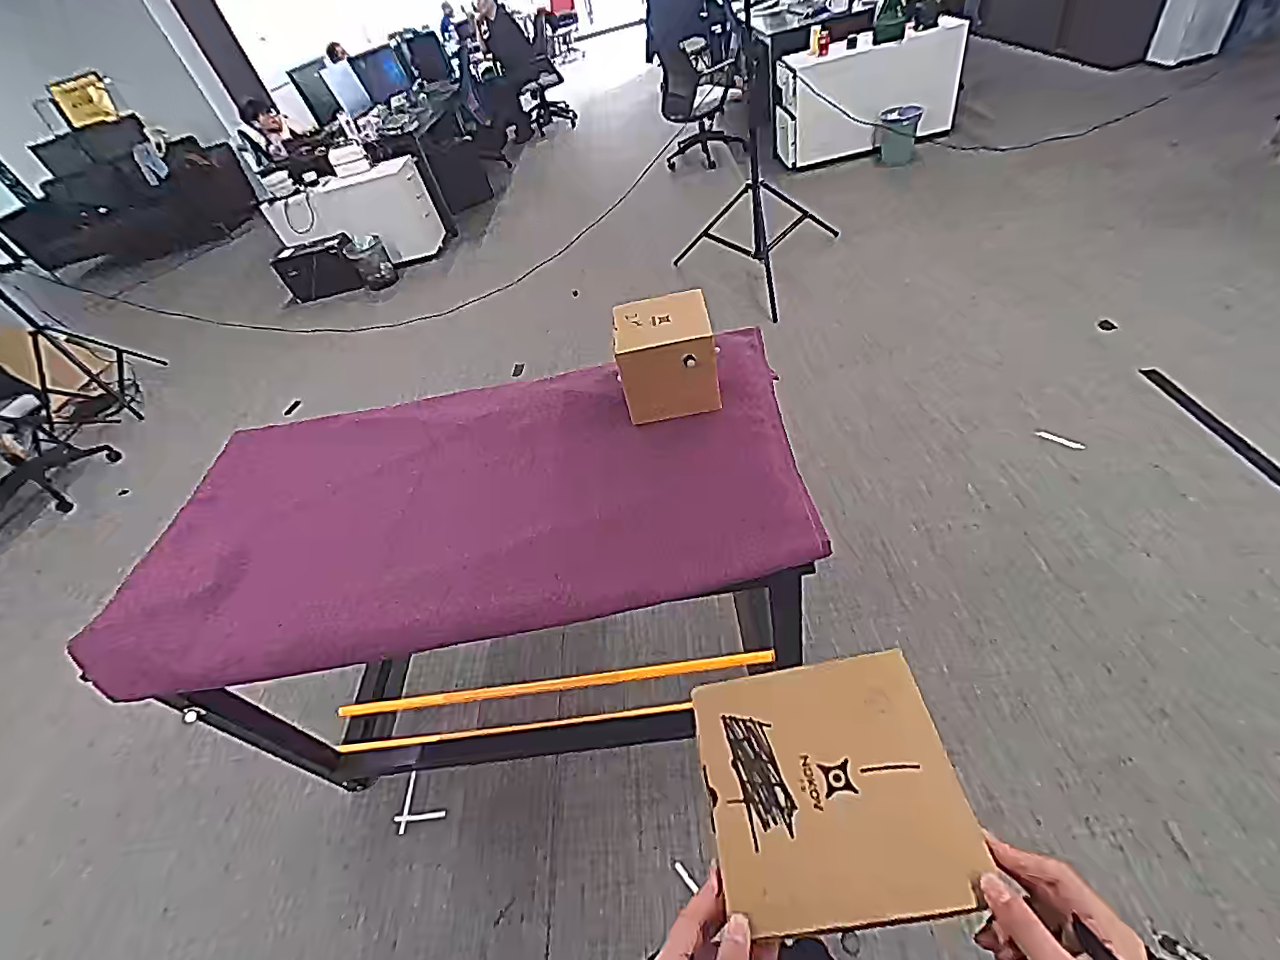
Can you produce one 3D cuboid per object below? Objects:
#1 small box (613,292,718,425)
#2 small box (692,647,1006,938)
[{"bbox_3d":[0.052,-0.229,1.037,0.179,0.176,0.168,-10,46,7],"label":"small box"},{"bbox_3d":[0.155,0.264,0.448,0.179,0.176,0.168,-14,48,7],"label":"small box"}]
